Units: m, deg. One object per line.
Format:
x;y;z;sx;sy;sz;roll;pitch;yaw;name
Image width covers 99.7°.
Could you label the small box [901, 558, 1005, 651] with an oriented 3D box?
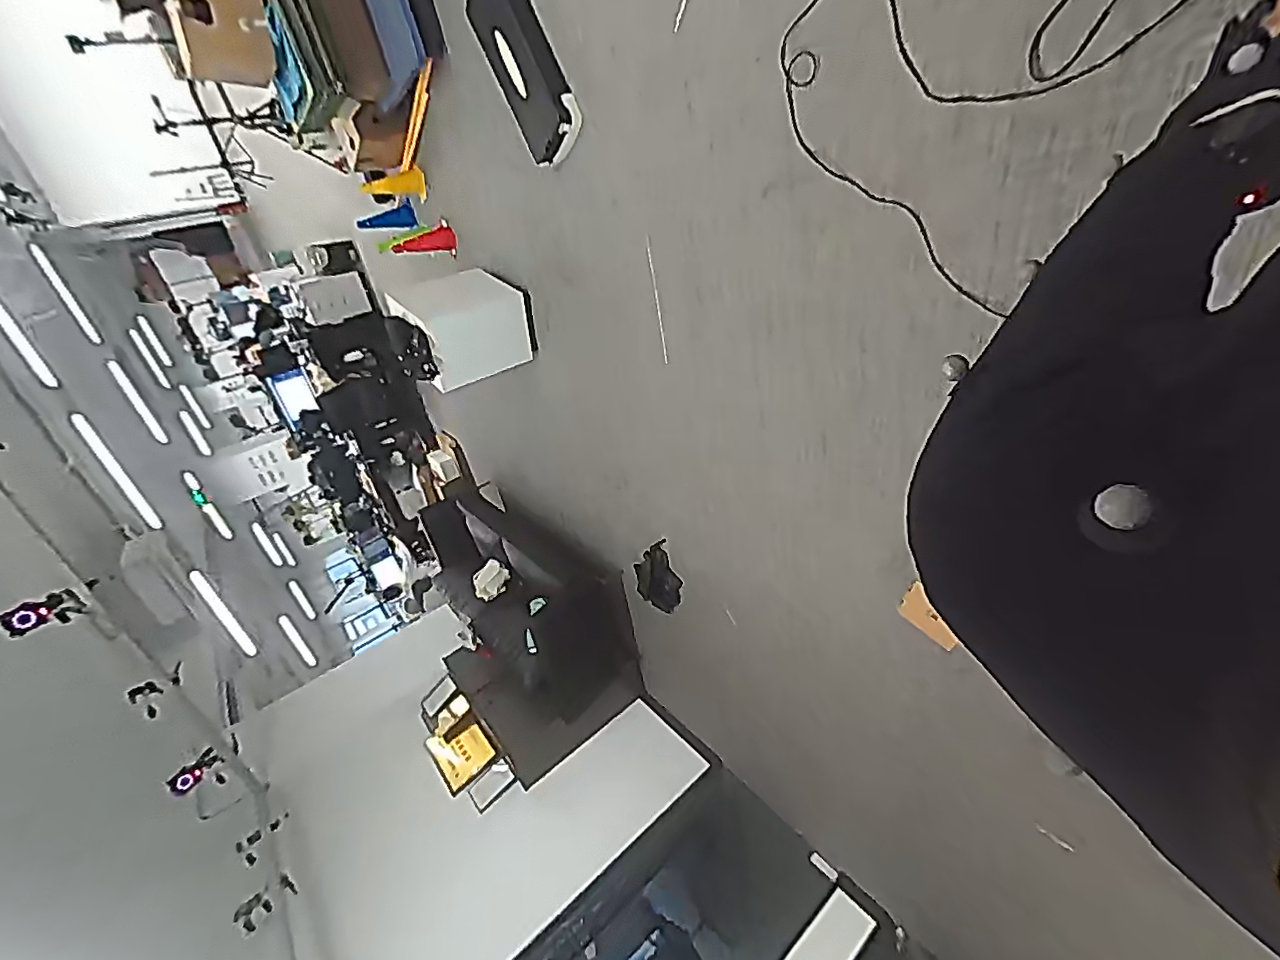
0.909;0.351;1.574;0.179;0.176;0.168;39;145;33;small box
